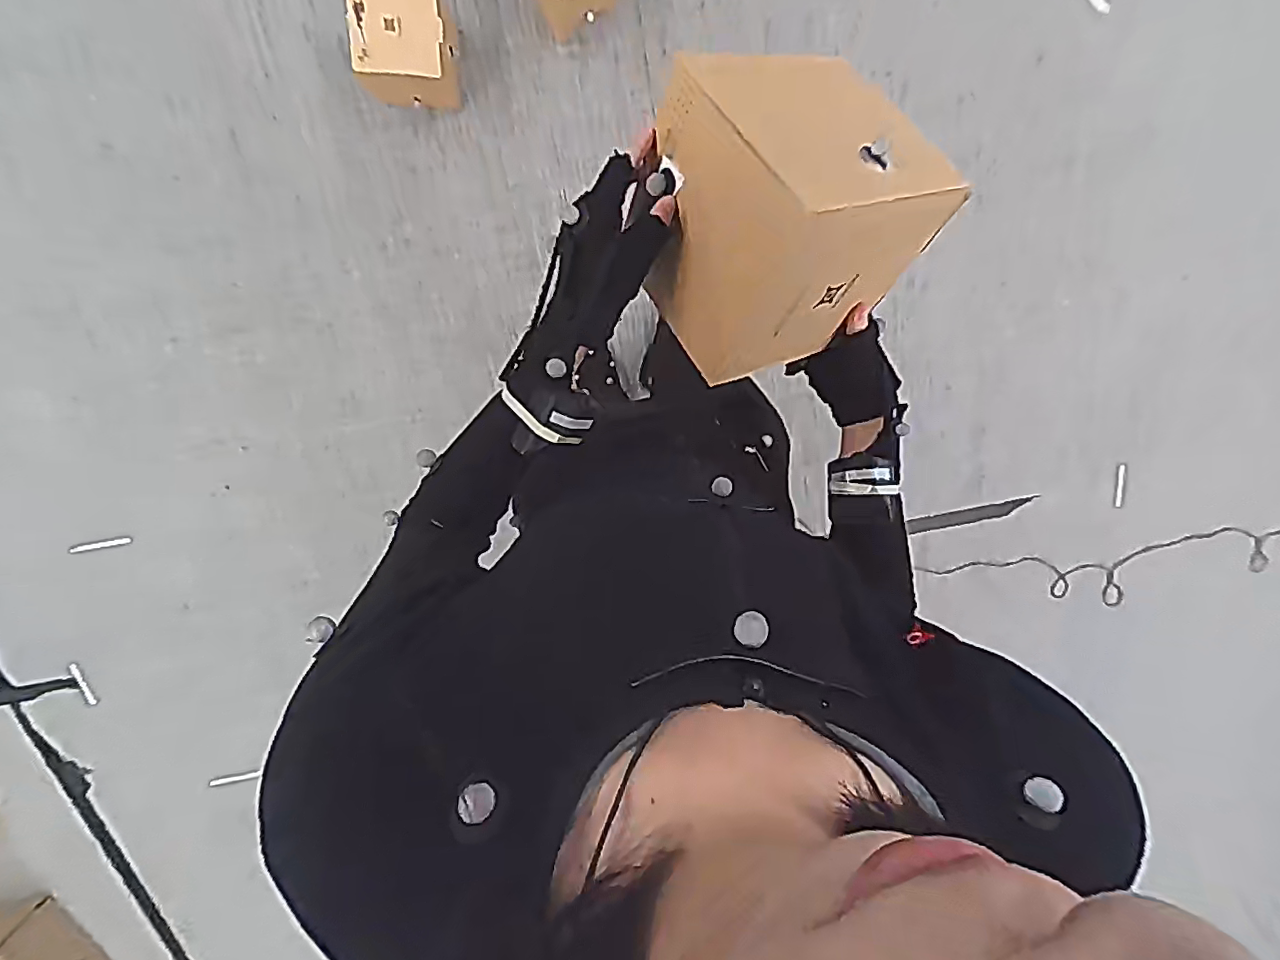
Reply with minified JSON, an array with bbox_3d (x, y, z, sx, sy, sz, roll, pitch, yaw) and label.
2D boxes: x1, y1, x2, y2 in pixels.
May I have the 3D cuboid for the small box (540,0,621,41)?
[{"bbox_3d":[-0.142,-1.073,1.114,0.168,0.176,0.179,-29,107,3],"label":"small box"}]

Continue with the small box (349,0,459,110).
[{"bbox_3d":[-0.482,-0.901,1.132,0.179,0.176,0.168,1,106,-6],"label":"small box"}]
